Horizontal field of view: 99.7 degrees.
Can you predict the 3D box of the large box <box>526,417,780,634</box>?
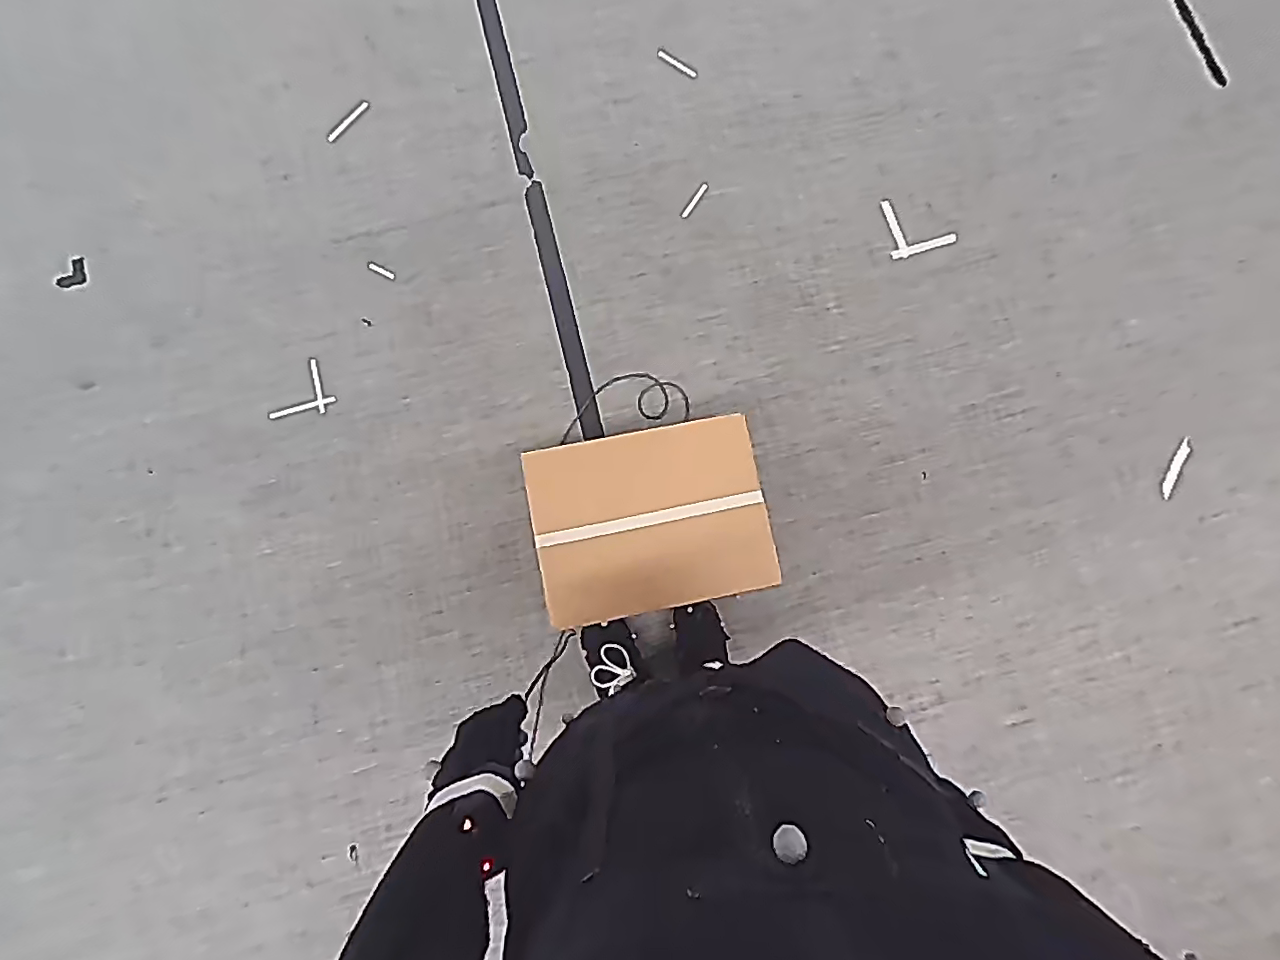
[{"bbox_3d":[0.018,0.092,1.091,0.408,0.320,0.320,-11,82,-4],"label":"large box"}]
